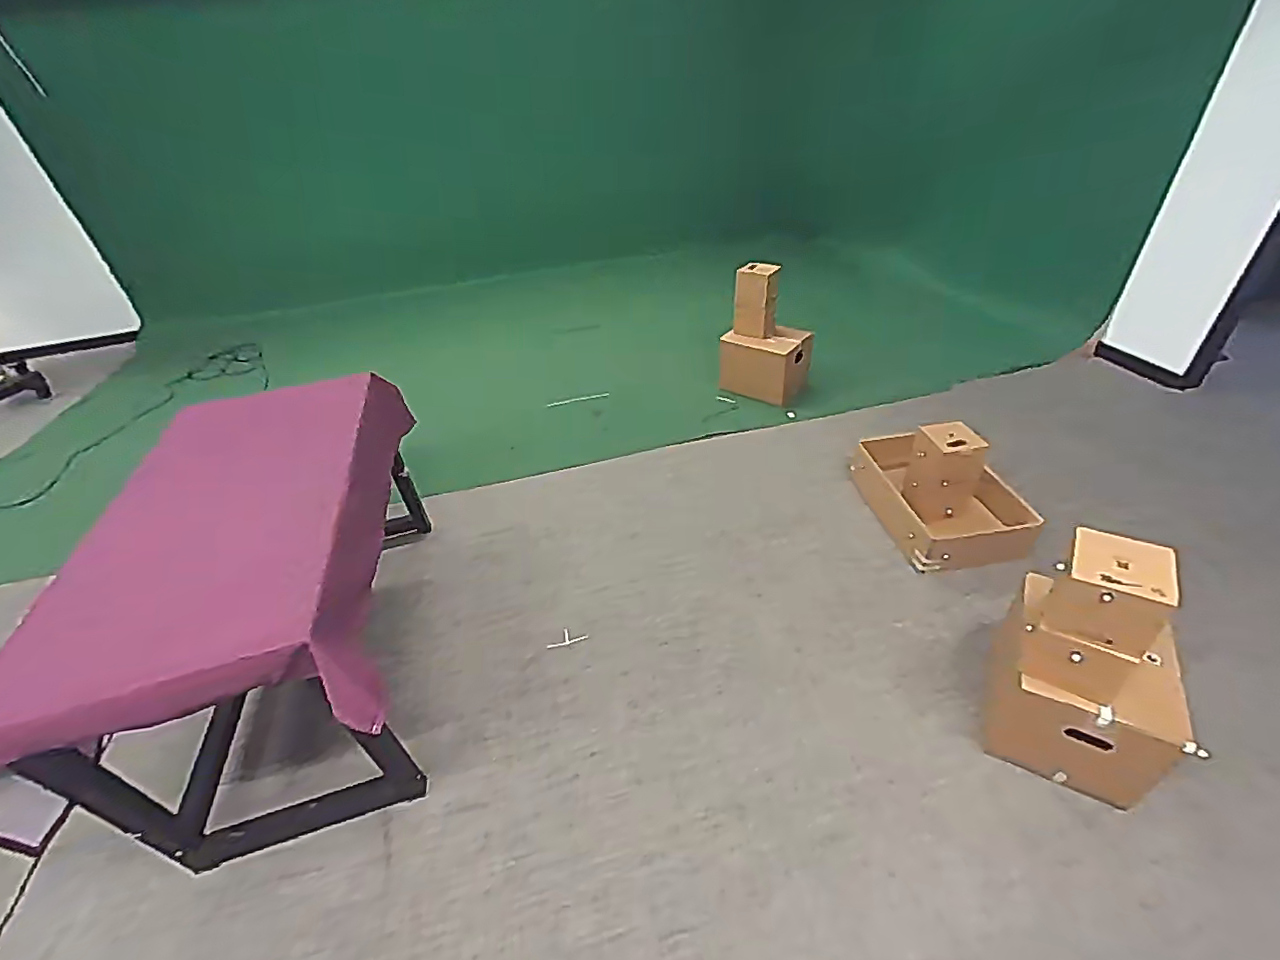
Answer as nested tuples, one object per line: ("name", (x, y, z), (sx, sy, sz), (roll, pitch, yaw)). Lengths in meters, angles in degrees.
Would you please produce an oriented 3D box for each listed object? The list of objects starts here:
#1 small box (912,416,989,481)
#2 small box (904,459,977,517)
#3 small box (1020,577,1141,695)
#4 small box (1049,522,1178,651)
("small box", (1.130, -0.109, 1.980), (0.168, 0.176, 0.179), (-8, 37, -2))
("small box", (1.148, 0.020, 2.080), (0.168, 0.176, 0.179), (-9, 38, -2))
("small box", (1.016, 0.363, 1.245), (0.179, 0.176, 0.168), (21, 46, 35))
("small box", (1.003, 0.225, 1.154), (0.168, 0.176, 0.179), (17, 43, 32))
